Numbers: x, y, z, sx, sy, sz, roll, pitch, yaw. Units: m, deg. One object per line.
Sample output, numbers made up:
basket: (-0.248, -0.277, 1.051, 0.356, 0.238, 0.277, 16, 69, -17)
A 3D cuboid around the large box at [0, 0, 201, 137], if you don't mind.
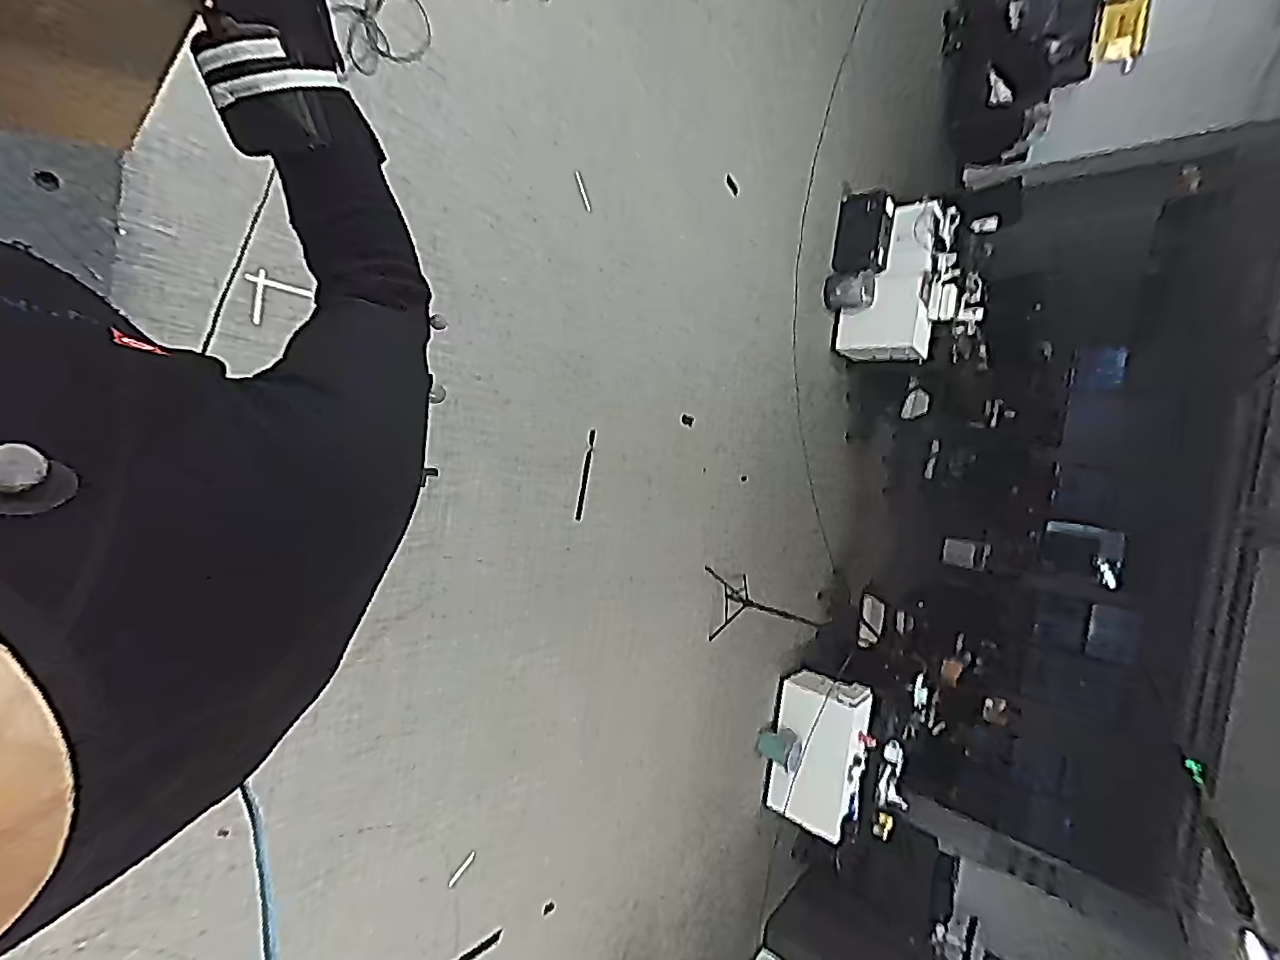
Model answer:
large box: (-0.505, -0.408, 0.237, 0.408, 0.320, 0.320, -19, 110, -48)
